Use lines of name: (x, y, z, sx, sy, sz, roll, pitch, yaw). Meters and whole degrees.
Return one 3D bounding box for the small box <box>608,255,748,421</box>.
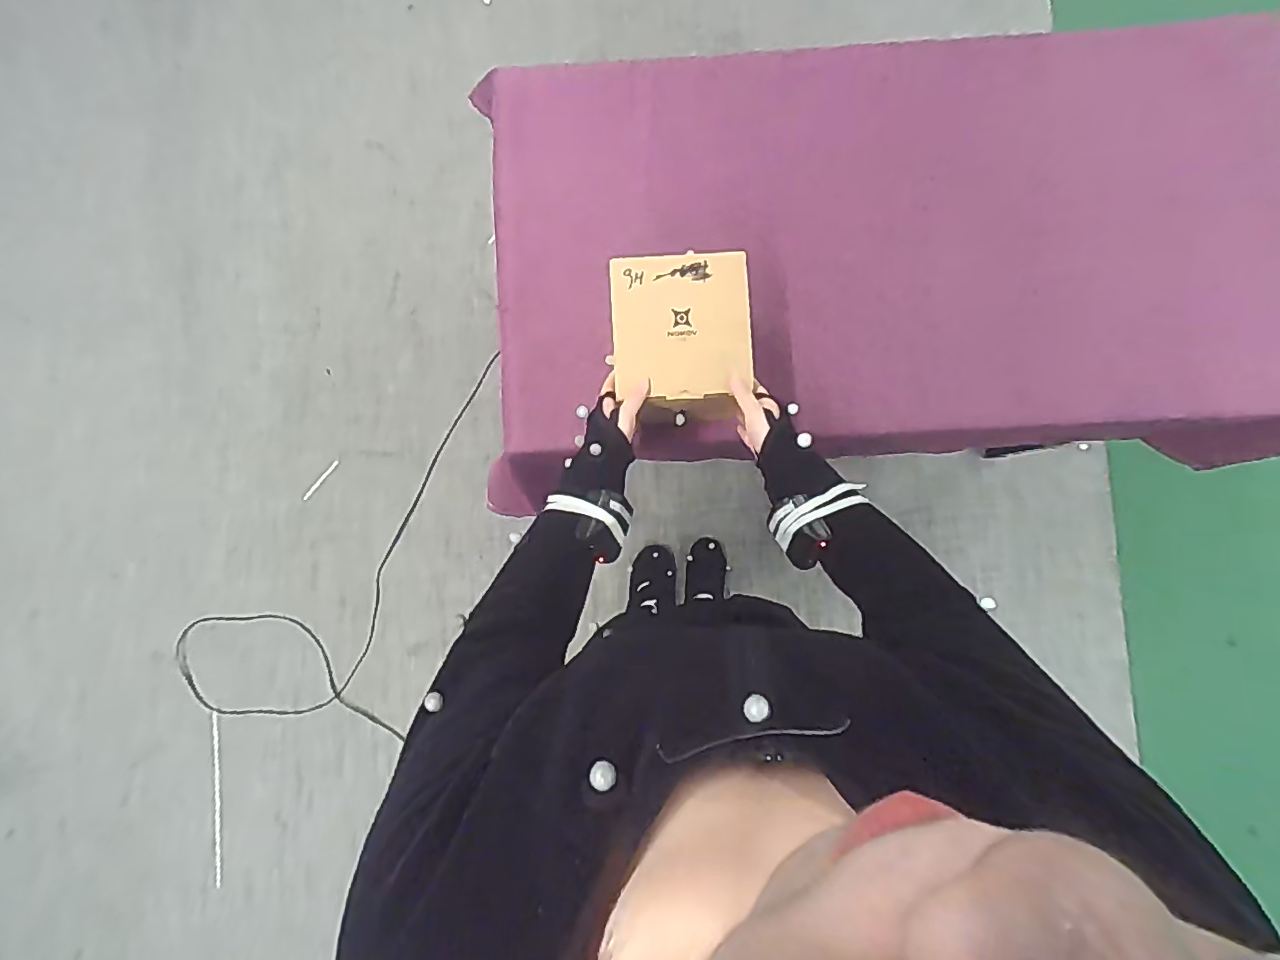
small box: (0.048, -0.176, 0.723, 0.168, 0.176, 0.179, -2, 86, 1)
